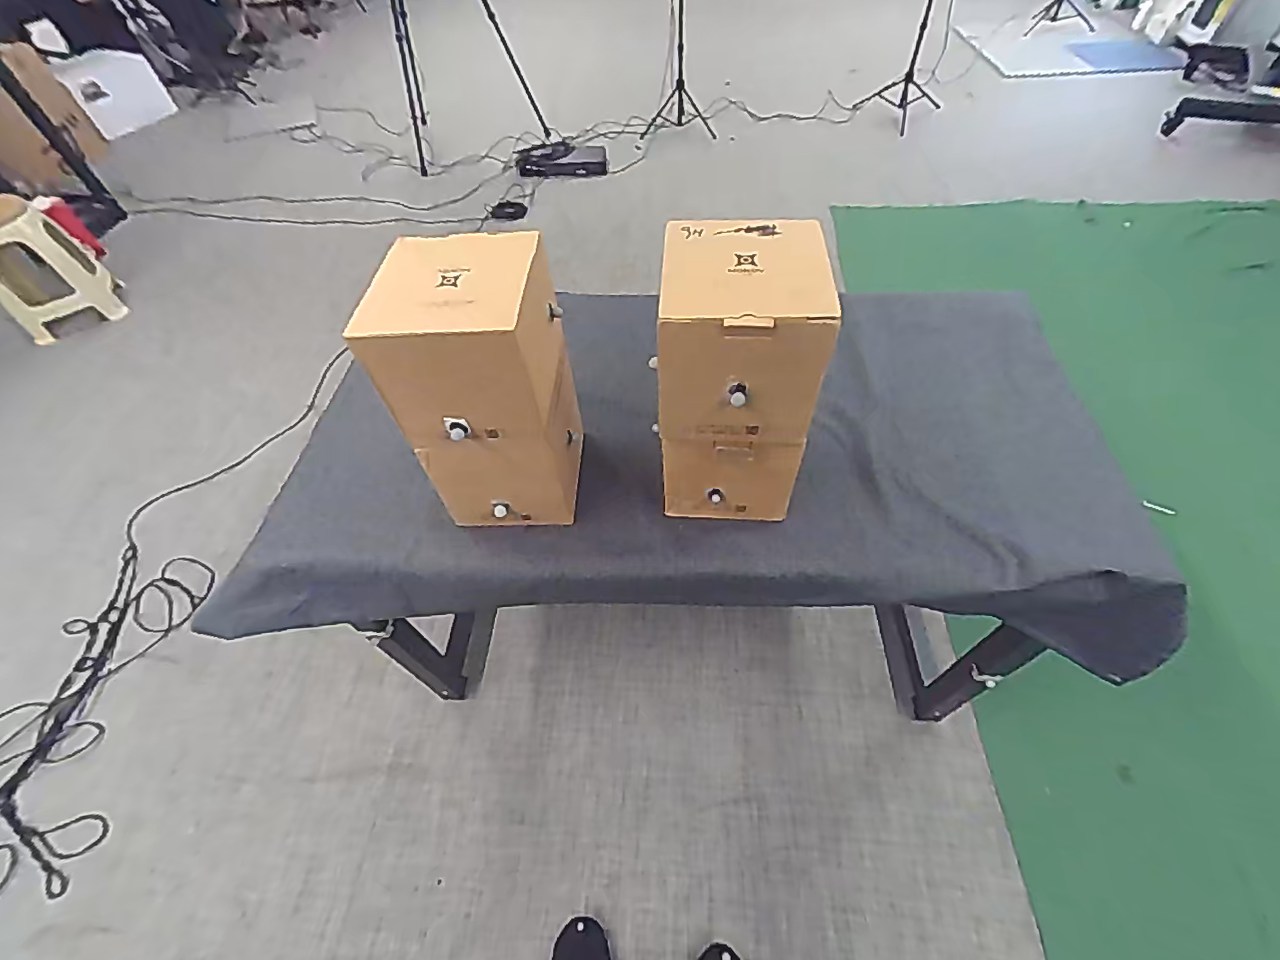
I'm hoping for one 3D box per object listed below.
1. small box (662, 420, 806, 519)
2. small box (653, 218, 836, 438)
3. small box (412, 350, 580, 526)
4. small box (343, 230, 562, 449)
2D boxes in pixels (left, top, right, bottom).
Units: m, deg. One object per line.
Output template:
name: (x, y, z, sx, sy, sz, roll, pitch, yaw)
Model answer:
small box: (0.116, -0.068, 0.728, 0.168, 0.176, 0.179, 2, 53, 5)
small box: (0.105, -0.162, 0.594, 0.168, 0.176, 0.179, 2, 54, 5)
small box: (-0.178, -0.055, 0.734, 0.168, 0.176, 0.179, -1, 53, 3)
small box: (-0.186, -0.153, 0.604, 0.168, 0.176, 0.179, -2, 53, 4)
